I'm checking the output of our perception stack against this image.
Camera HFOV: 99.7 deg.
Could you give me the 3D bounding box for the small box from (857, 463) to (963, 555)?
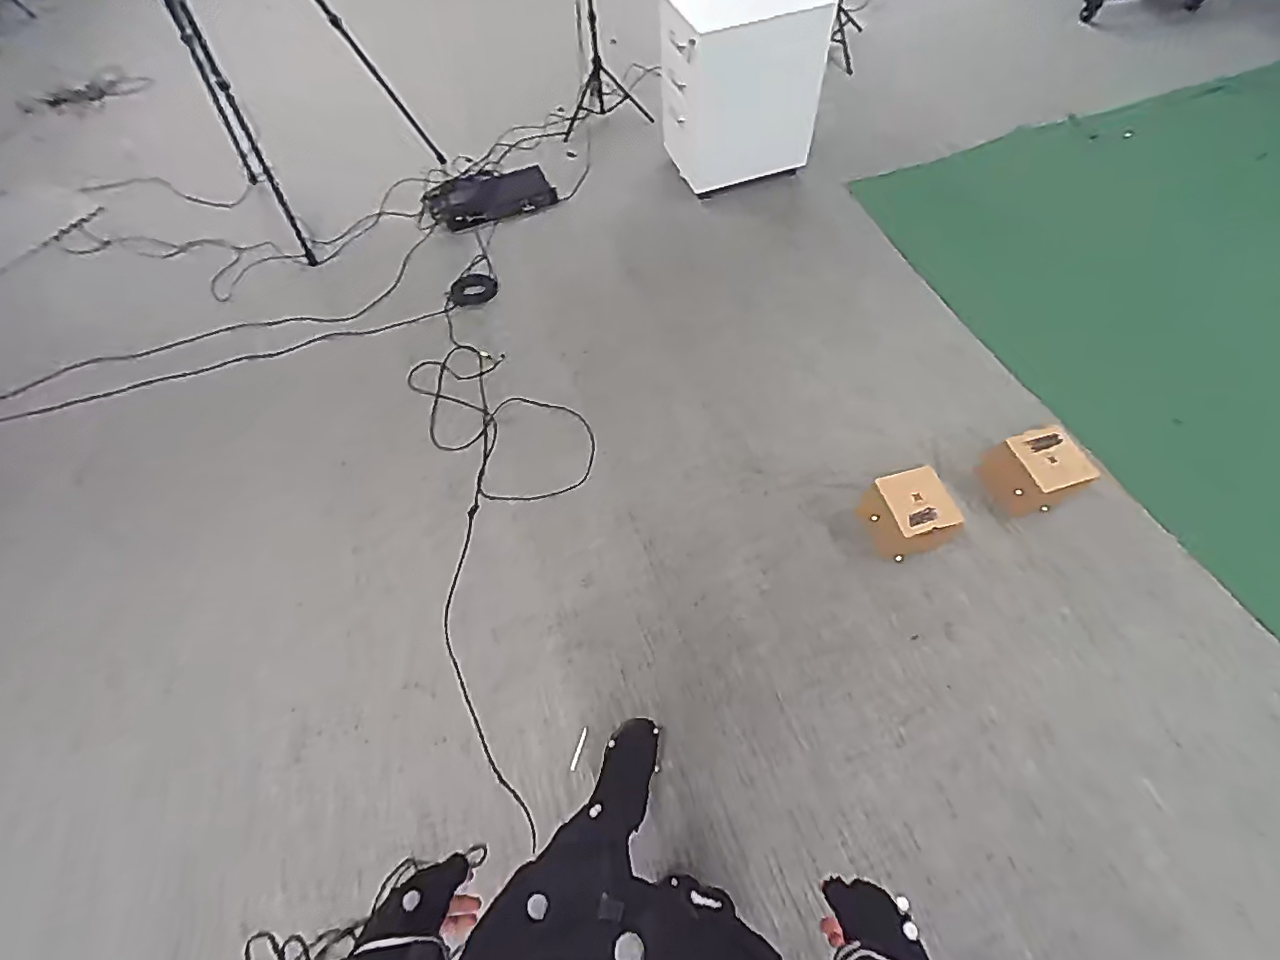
[{"bbox_3d":[0.709,0.086,1.443,0.168,0.176,0.179,-14,59,-4],"label":"small box"}]
